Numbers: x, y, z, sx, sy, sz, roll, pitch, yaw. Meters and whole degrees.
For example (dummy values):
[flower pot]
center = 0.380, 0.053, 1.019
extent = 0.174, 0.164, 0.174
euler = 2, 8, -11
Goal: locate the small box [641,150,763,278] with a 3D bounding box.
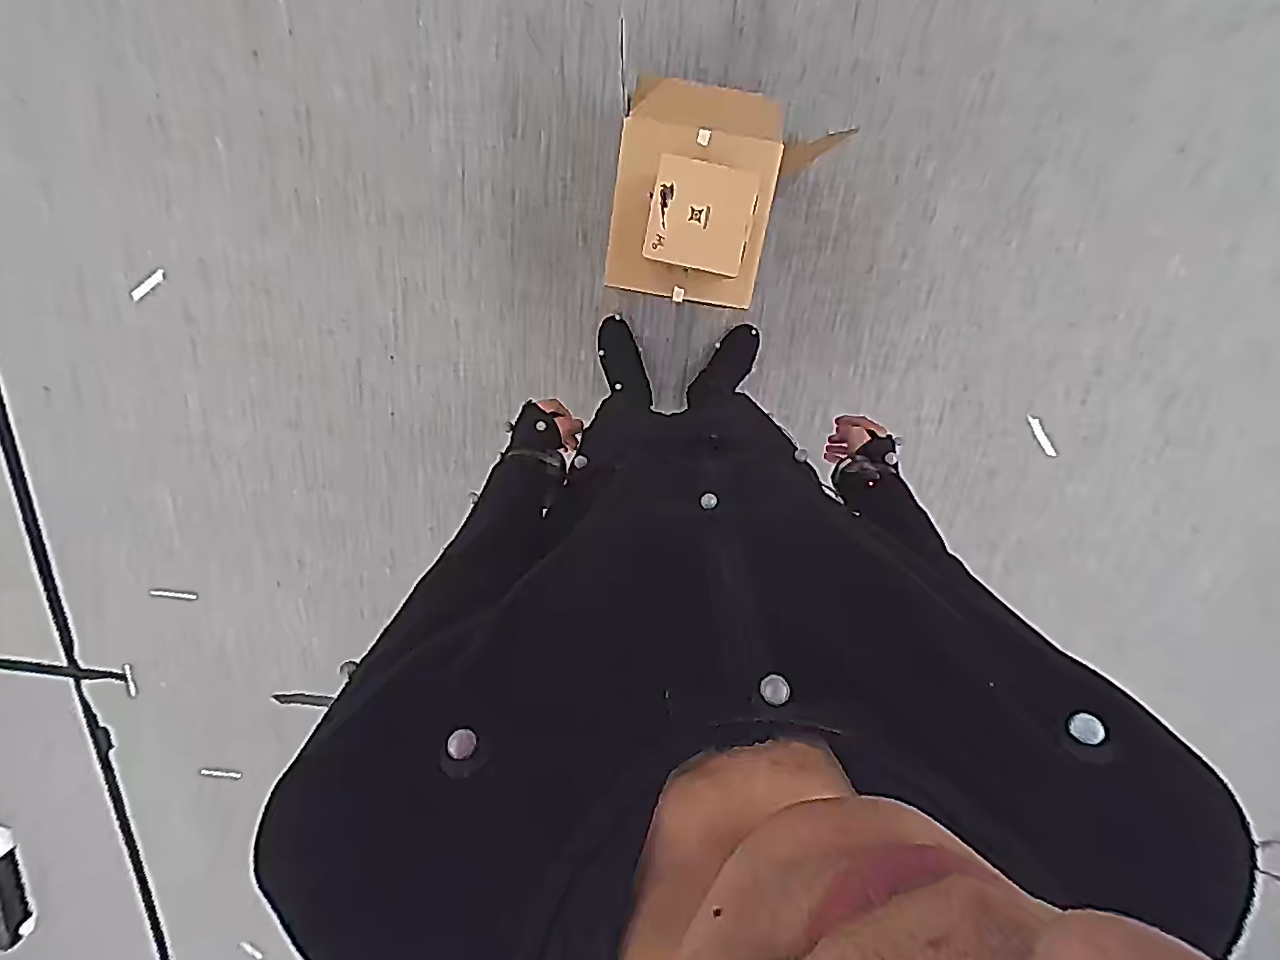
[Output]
[small box]
center = 0.103, -0.476, 0.988
extent = 0.179, 0.176, 0.168
euler = 11, 110, -4
